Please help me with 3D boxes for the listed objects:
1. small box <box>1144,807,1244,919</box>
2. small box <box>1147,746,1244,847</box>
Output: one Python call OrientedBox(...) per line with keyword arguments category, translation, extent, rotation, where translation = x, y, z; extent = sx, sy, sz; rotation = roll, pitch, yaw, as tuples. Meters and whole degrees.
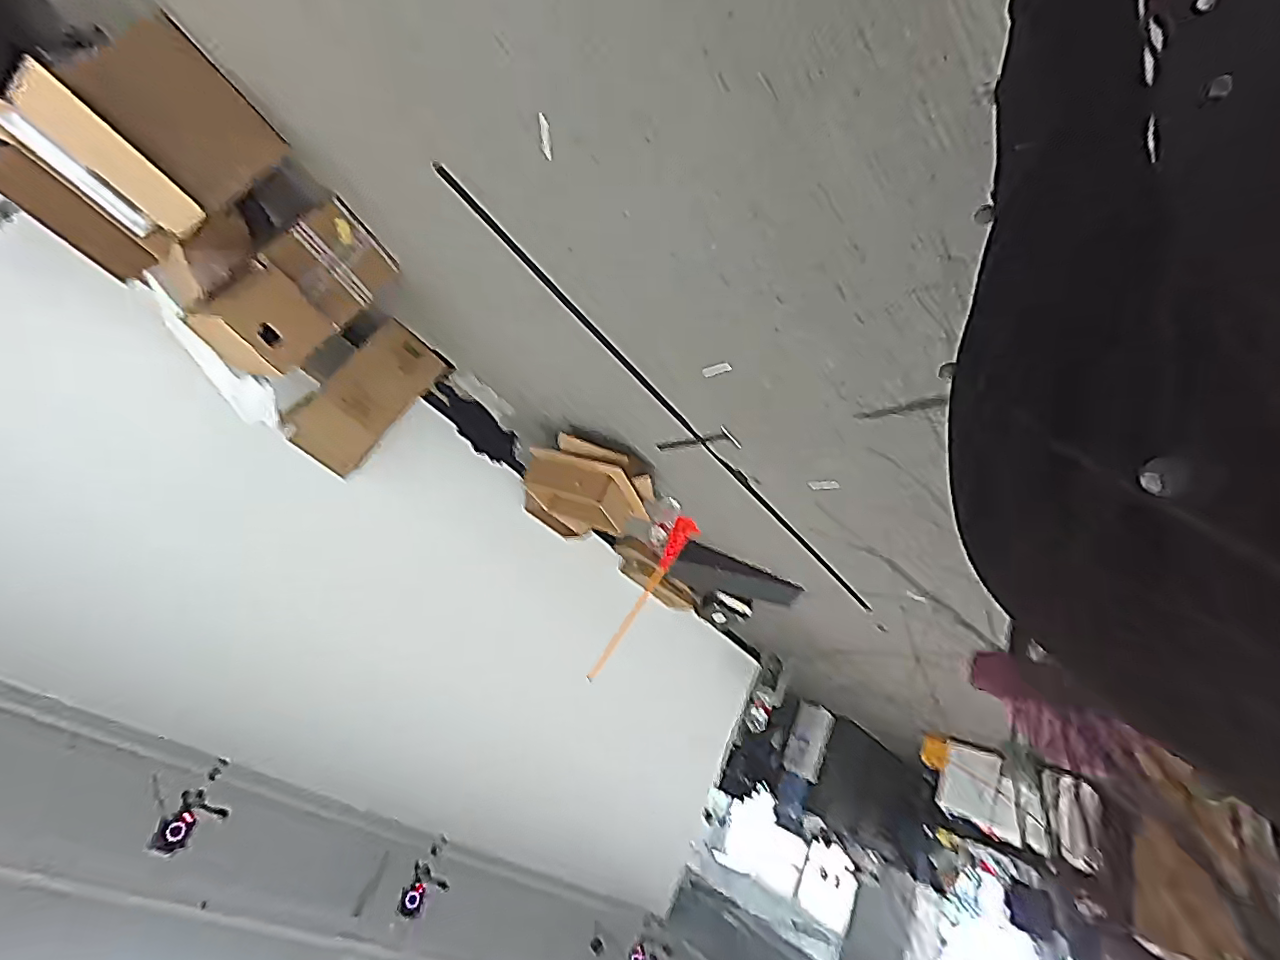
OrientedBox(category="small box", translation=(1.436, 0.985, 1.404), extent=(0.179, 0.176, 0.168), rotation=(43, 152, -28))
OrientedBox(category="small box", translation=(1.504, 0.851, 1.468), extent=(0.179, 0.176, 0.168), rotation=(41, 153, -28))
